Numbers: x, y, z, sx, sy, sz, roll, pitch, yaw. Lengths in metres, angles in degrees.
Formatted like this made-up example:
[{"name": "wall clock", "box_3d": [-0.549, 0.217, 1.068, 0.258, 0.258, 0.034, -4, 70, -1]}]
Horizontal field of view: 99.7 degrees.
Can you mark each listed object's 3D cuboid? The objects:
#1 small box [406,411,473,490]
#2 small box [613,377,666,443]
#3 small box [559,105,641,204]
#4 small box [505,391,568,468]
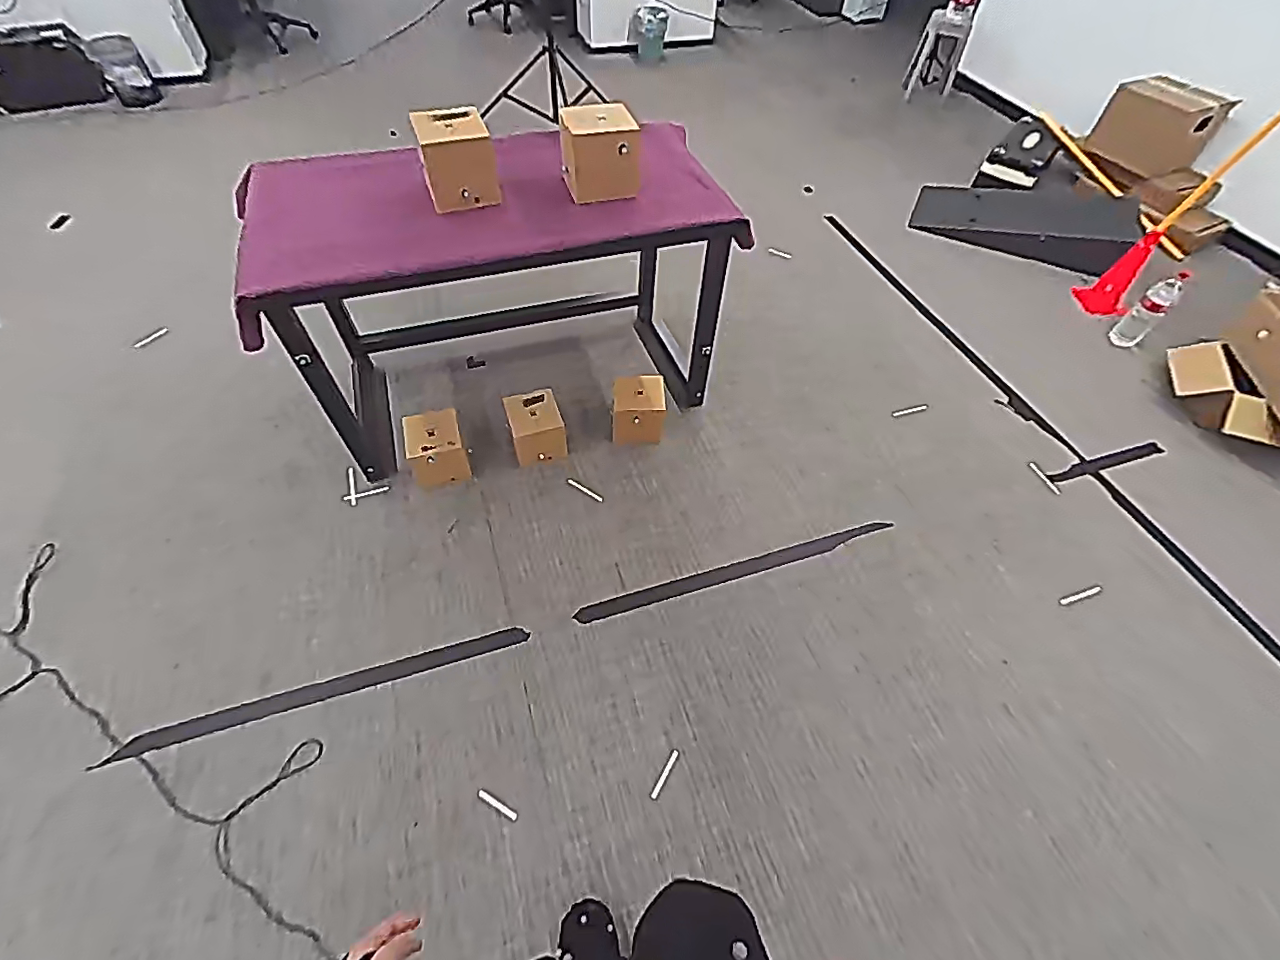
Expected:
[{"name": "small box", "box_3d": [-0.648, -0.094, 1.750, 0.168, 0.176, 0.179, -13, 54, -12]}, {"name": "small box", "box_3d": [-0.005, -0.242, 1.887, 0.179, 0.176, 0.168, -1, 55, -2]}, {"name": "small box", "box_3d": [-0.106, -0.853, 1.421, 0.179, 0.176, 0.168, -13, 55, -11]}, {"name": "small box", "box_3d": [-0.346, -0.167, 1.816, 0.168, 0.176, 0.179, -15, 57, -13]}]
